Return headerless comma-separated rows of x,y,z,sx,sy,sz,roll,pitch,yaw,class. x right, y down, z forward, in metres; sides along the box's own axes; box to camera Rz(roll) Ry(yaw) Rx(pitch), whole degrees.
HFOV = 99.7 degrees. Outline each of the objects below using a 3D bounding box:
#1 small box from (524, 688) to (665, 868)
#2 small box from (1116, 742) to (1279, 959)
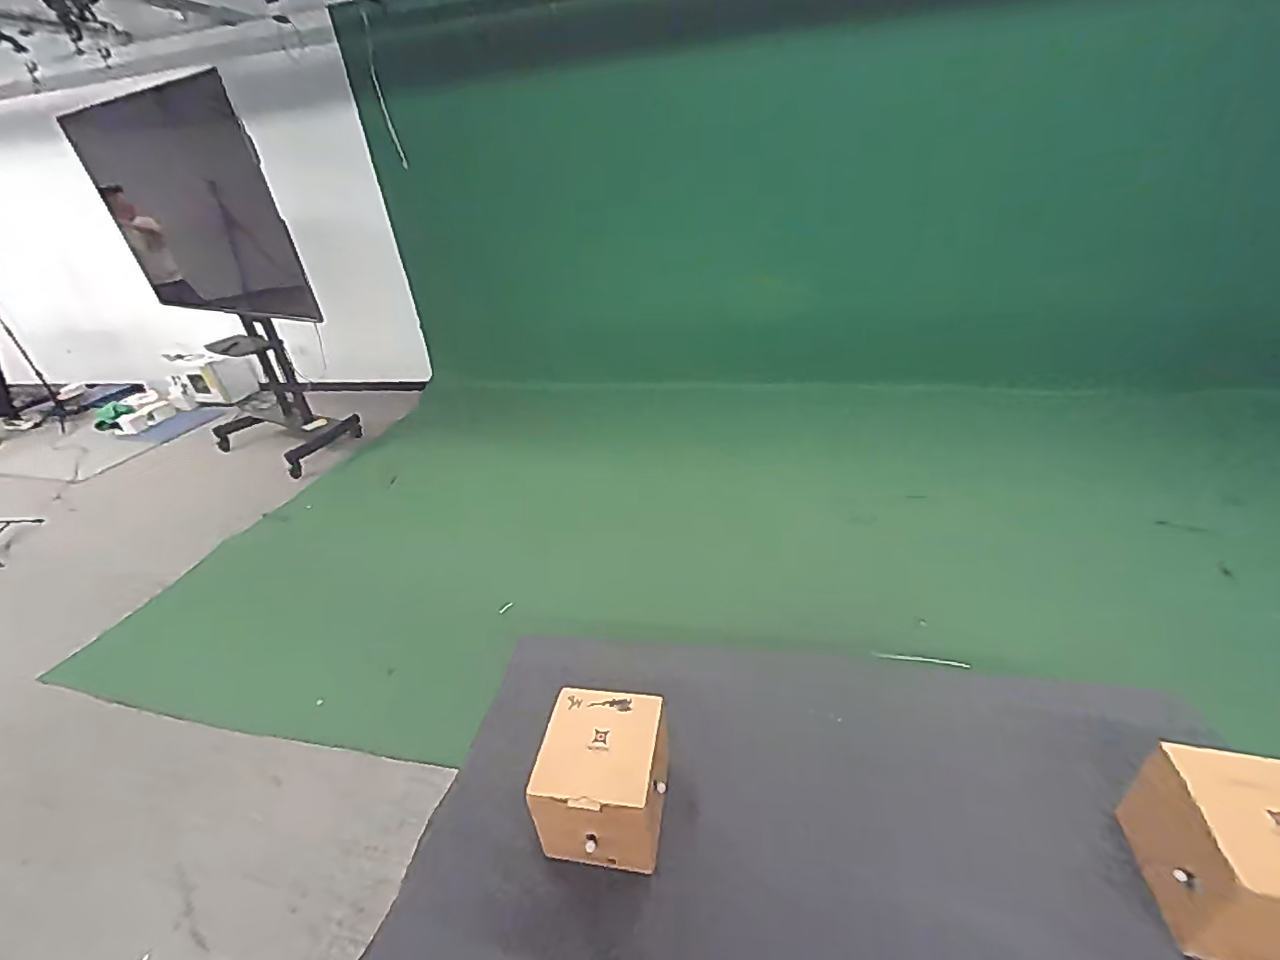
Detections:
-0.055,0.447,0.817,0.168,0.176,0.179,1,31,11,small box
0.737,0.460,0.656,0.168,0.176,0.179,4,31,14,small box
